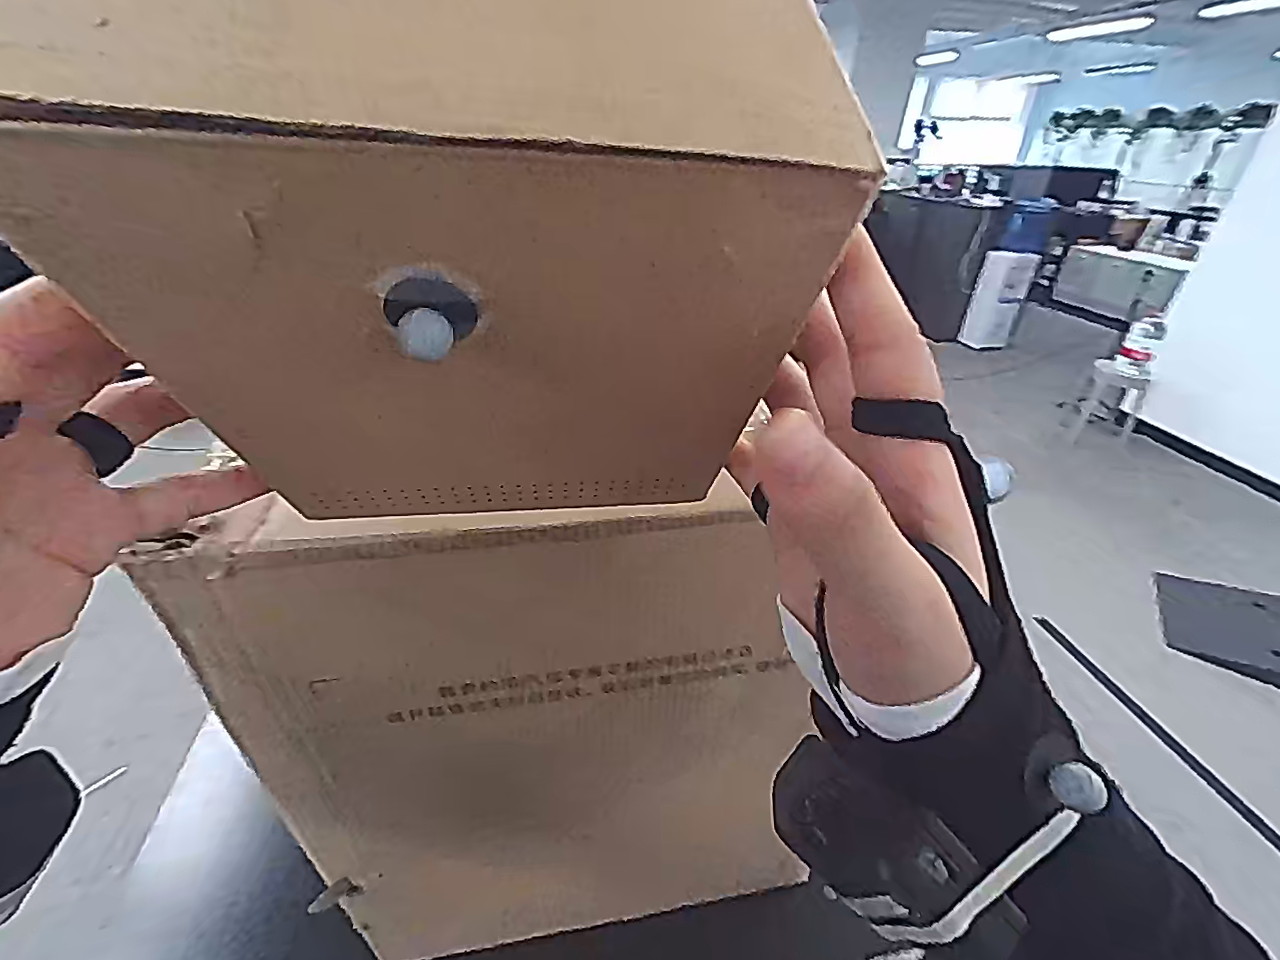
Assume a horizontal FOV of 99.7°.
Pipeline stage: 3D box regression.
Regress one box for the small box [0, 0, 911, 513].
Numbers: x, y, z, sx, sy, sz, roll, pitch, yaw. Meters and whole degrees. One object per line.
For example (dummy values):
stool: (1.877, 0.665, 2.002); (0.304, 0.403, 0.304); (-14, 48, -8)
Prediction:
small box: (-0.047, -0.093, 0.201); (0.179, 0.176, 0.168); (-2, 65, -10)
